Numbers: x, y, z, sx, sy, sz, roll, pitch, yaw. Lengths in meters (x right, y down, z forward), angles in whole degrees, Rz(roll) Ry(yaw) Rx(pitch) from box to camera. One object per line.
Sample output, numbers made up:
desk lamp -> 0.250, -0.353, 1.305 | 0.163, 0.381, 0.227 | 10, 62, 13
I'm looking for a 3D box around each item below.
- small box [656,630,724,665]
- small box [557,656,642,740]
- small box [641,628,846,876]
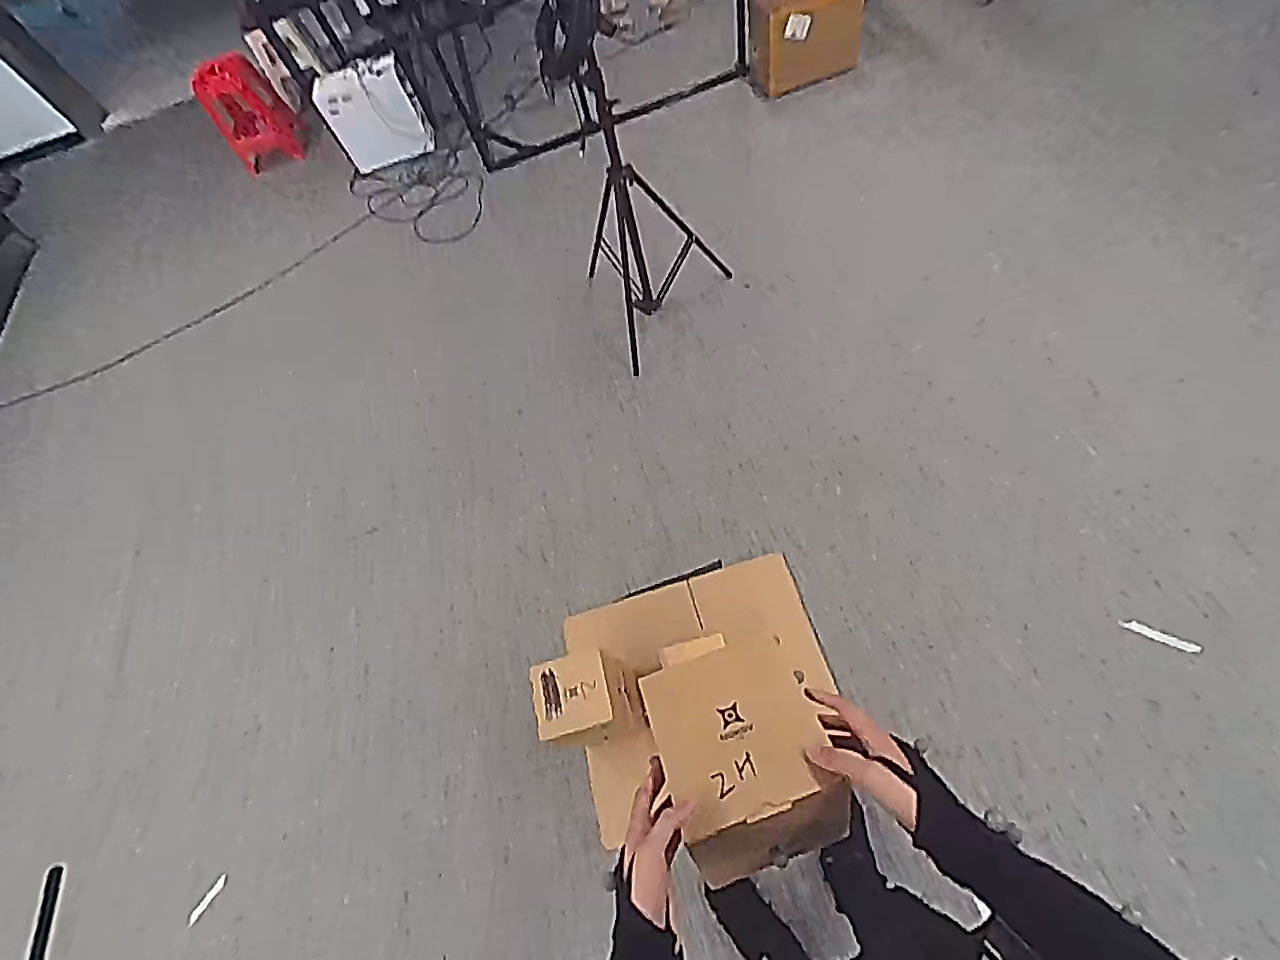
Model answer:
small box -> 0.154, 0.511, 1.424 | 0.179, 0.176, 0.168 | -17, 61, 3
small box -> -0.101, 0.584, 1.440 | 0.179, 0.176, 0.168 | -19, 61, 4
small box -> 0.114, 0.308, 0.616 | 0.168, 0.176, 0.179 | -20, 41, -2
